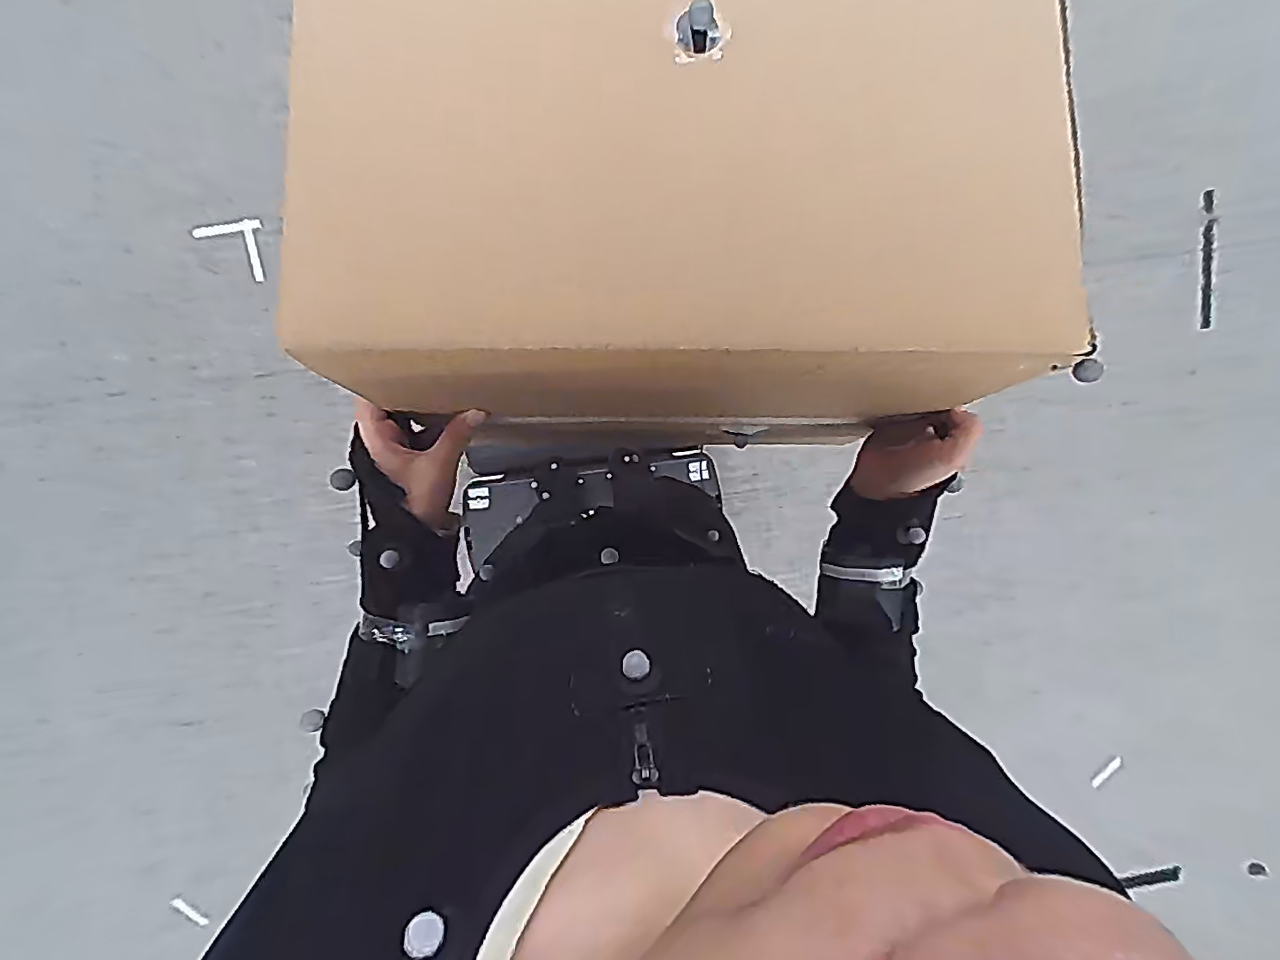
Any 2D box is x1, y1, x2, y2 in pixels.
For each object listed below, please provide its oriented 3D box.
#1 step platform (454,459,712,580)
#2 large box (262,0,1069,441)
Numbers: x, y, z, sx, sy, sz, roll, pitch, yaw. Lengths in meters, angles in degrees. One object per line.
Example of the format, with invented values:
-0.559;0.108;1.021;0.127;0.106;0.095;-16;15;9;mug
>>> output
-0.146;0.104;1.473;0.684;0.204;0.286;-3;96;-2;step platform
0.006;-0.209;0.422;0.408;0.320;0.320;-2;87;-2;large box
